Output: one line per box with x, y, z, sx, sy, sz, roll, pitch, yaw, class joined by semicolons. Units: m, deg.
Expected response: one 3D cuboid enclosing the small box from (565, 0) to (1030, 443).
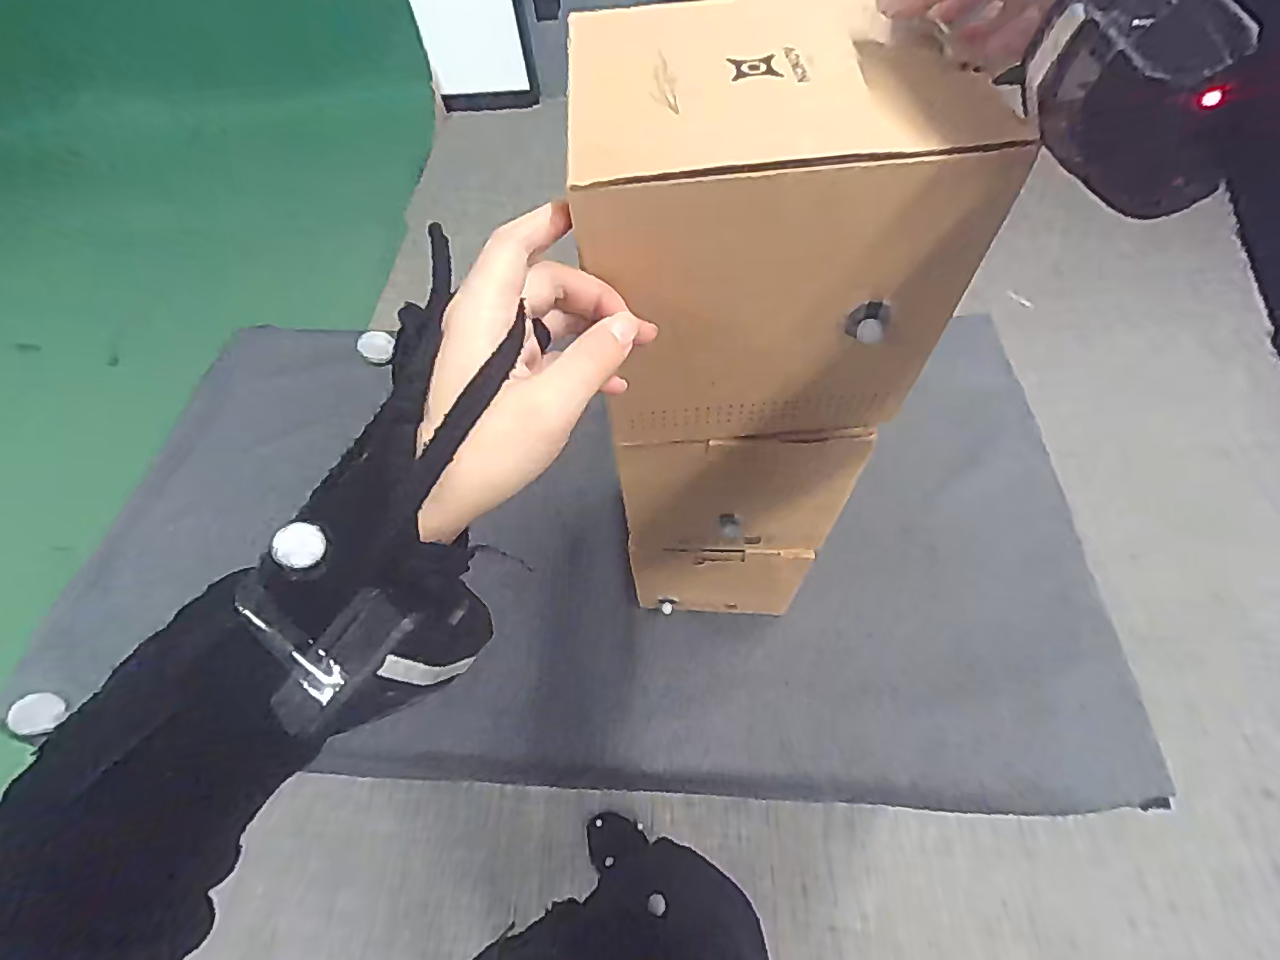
0.059;-0.138;0.308;0.179;0.176;0.168;-5;57;2;small box

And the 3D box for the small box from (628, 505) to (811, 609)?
0.083;0.031;0.588;0.168;0.176;0.179;2;58;5;small box

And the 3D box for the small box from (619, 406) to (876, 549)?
0.073;-0.057;0.449;0.168;0.176;0.179;-1;59;5;small box
